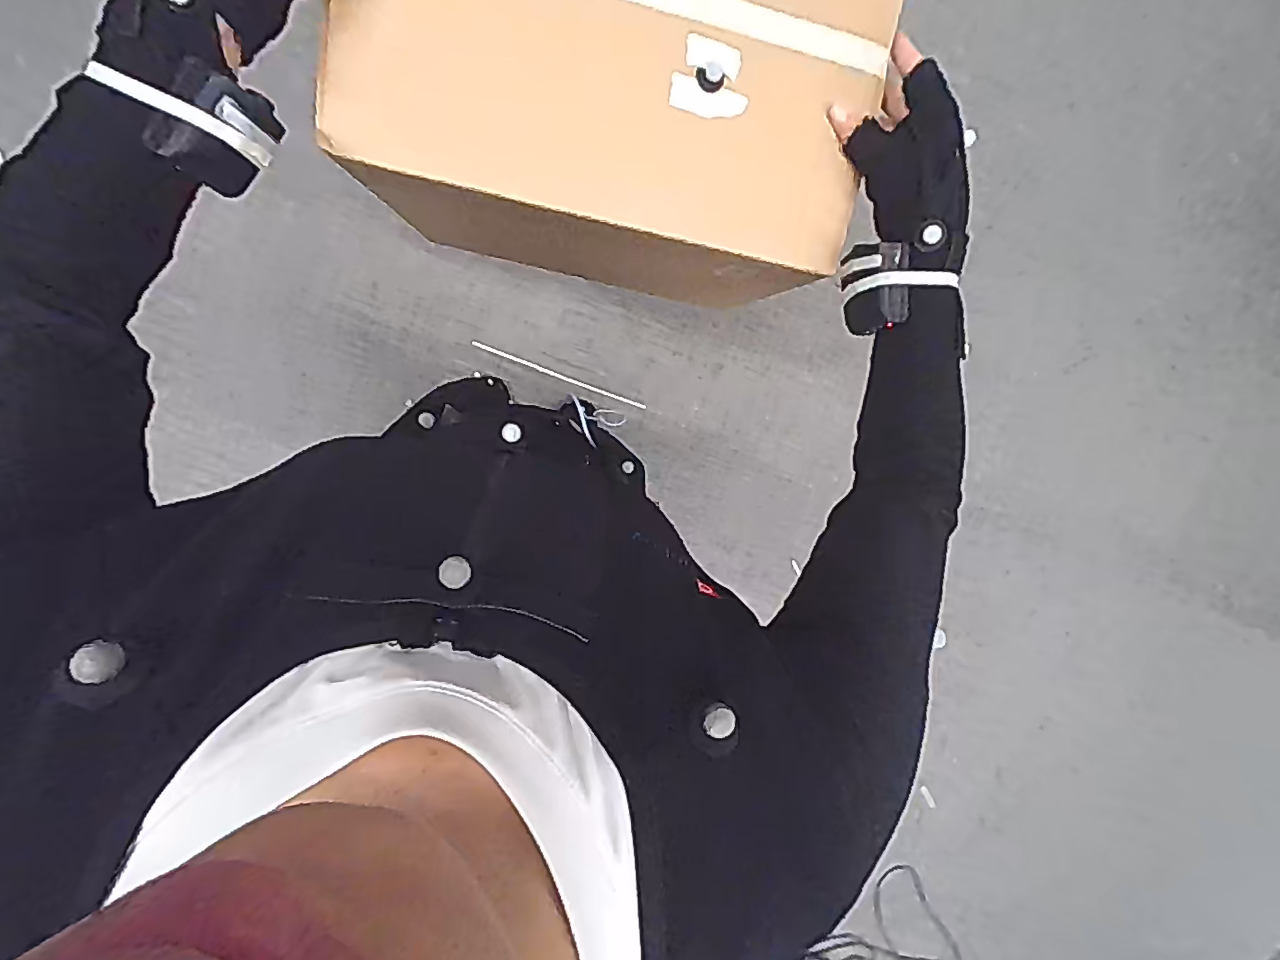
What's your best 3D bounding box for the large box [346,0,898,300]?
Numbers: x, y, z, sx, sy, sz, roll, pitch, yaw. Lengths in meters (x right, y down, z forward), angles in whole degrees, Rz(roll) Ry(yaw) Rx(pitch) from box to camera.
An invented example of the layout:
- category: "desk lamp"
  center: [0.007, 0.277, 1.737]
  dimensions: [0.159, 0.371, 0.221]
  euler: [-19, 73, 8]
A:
- category: "large box"
  center: [-0.022, -0.391, 0.545]
  dimensions: [0.408, 0.320, 0.320]
  euler: [9, 102, -11]
